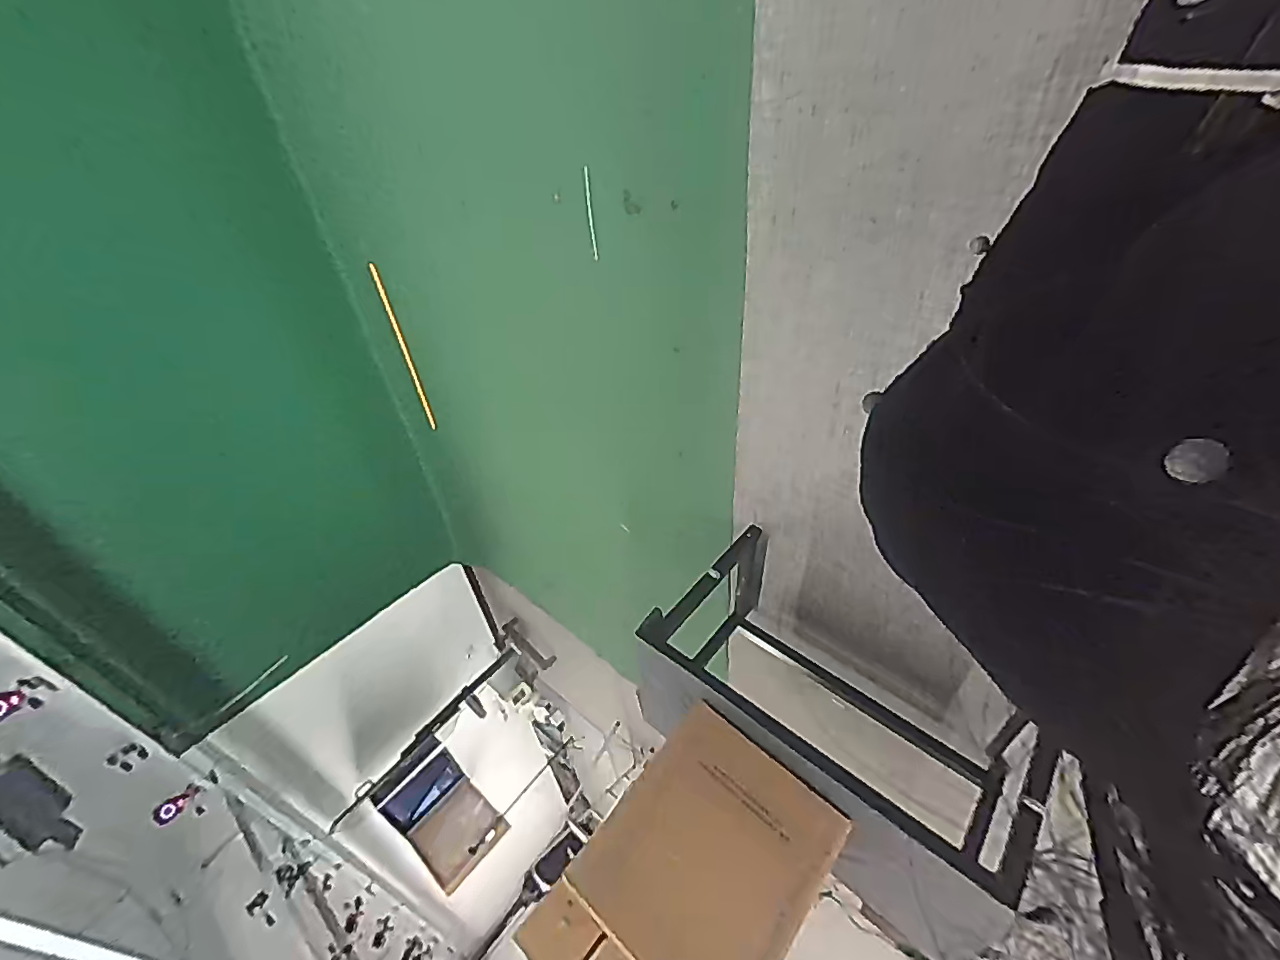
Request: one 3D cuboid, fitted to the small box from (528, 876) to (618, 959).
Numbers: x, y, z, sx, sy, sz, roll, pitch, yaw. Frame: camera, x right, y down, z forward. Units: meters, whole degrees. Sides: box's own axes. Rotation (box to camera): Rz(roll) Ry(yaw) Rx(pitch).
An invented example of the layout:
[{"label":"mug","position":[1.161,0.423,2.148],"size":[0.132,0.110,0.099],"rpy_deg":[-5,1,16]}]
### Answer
[{"label":"small box","position":[-0.171,1.206,1.438],"size":[0.168,0.176,0.179],"rpy_deg":[32,142,29]}]
